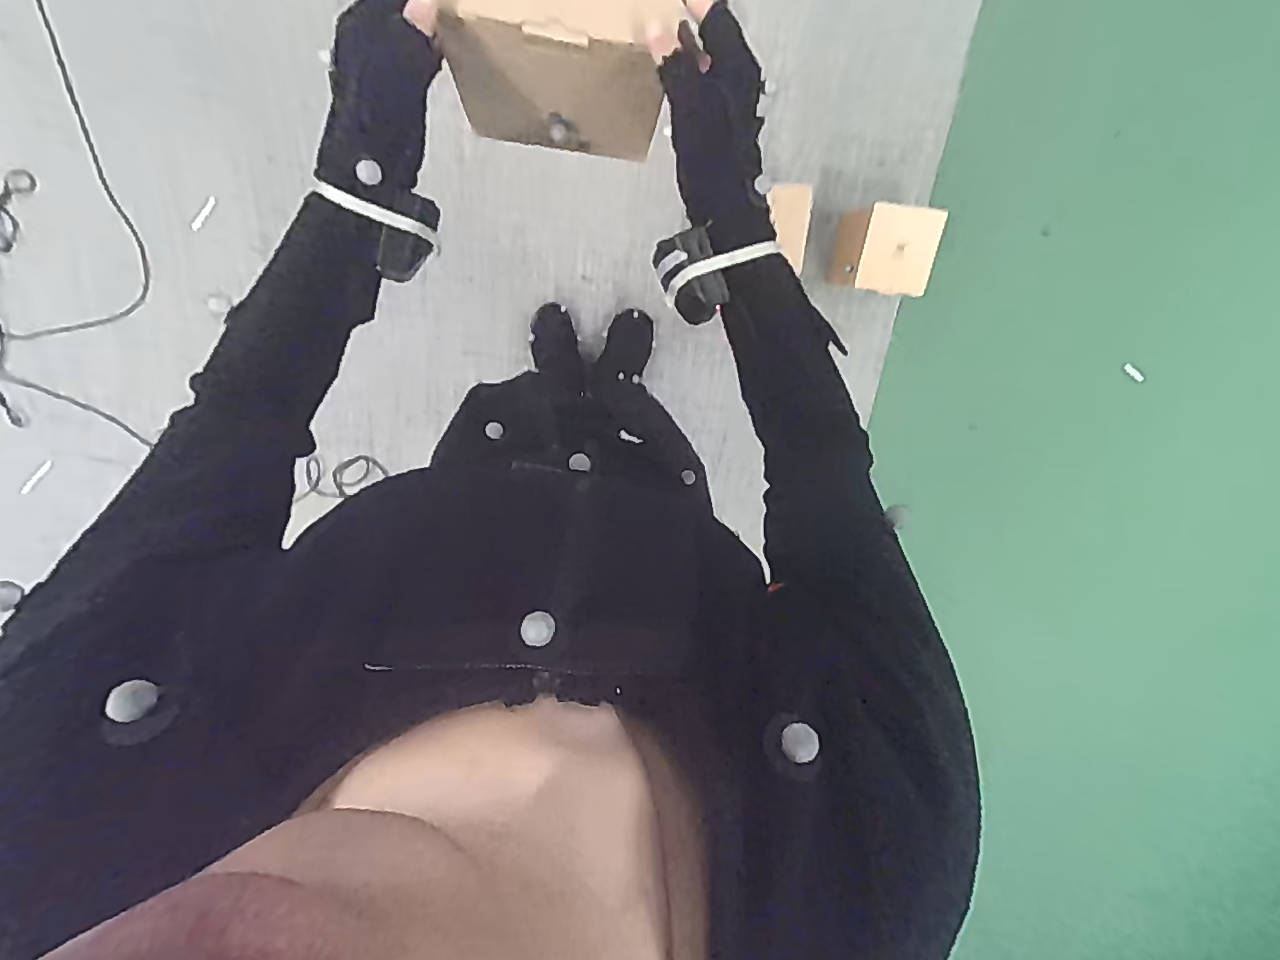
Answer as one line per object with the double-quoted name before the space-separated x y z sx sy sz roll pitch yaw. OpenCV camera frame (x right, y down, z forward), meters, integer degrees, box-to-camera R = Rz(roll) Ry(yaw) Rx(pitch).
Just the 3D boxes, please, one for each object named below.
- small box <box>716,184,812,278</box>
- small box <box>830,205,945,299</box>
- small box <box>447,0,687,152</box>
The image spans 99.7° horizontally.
"small box" 0.269 -0.553 1.219 0.168 0.176 0.179 1 110 -4
"small box" 0.559 -0.522 1.249 0.168 0.176 0.179 5 111 -4
"small box" -0.052 -0.398 0.423 0.168 0.176 0.179 5 97 -7
